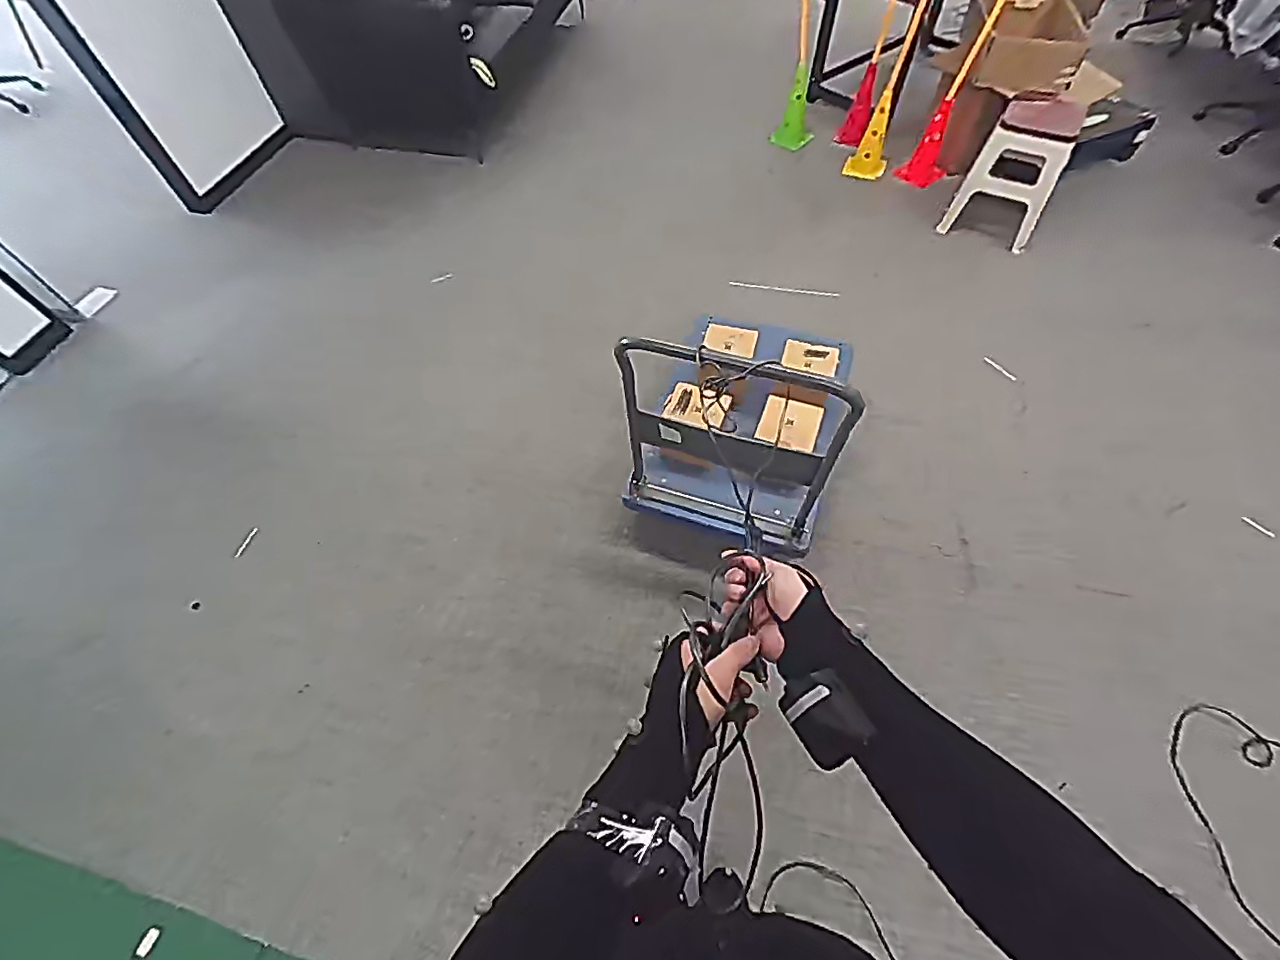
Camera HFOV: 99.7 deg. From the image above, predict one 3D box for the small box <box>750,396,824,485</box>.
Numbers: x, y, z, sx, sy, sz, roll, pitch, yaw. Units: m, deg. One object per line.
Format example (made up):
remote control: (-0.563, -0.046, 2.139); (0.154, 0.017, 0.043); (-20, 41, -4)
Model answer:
small box: (0.435, -0.116, 1.619); (0.168, 0.176, 0.179); (17, 61, 14)

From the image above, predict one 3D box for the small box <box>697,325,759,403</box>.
small box: (0.288, -0.382, 1.793); (0.168, 0.176, 0.179); (13, 60, 11)

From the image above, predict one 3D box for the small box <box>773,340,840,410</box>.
small box: (0.527, -0.315, 1.734); (0.168, 0.176, 0.179); (14, 61, 13)
